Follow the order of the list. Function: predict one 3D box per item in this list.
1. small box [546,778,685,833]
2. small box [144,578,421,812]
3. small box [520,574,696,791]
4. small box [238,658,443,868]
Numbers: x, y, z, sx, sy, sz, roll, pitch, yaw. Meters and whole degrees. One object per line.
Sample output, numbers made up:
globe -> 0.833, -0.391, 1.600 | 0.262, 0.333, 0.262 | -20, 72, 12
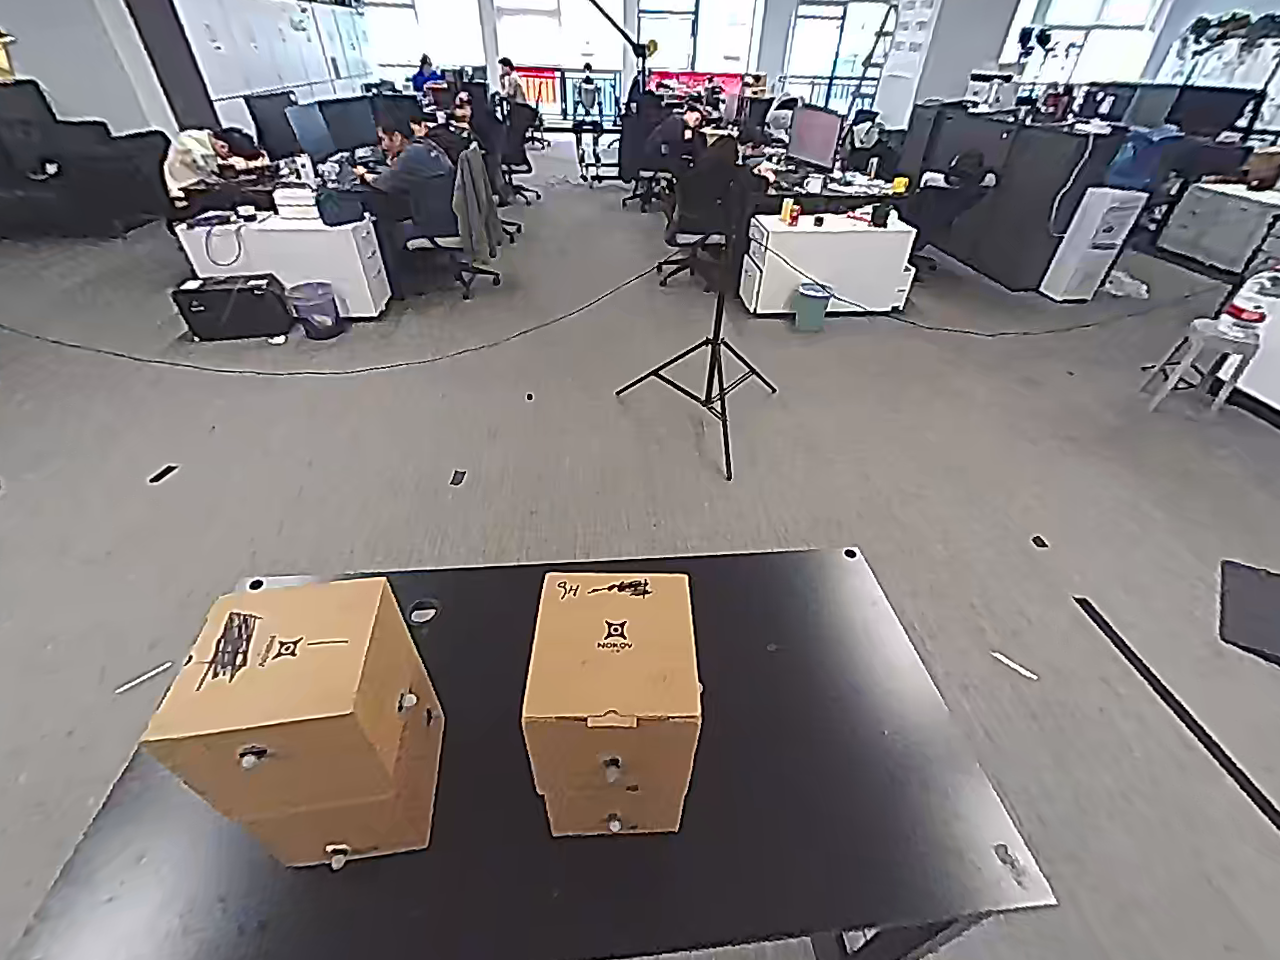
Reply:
small box -> -0.034, 0.342, 0.722 | 0.168, 0.176, 0.179 | 0, 39, -2
small box -> -0.357, 0.232, 0.587 | 0.179, 0.176, 0.168 | -5, 39, -9
small box -> -0.029, 0.226, 0.605 | 0.168, 0.176, 0.179 | 1, 40, -1
small box -> -0.359, 0.358, 0.693 | 0.168, 0.176, 0.179 | -6, 40, -7
